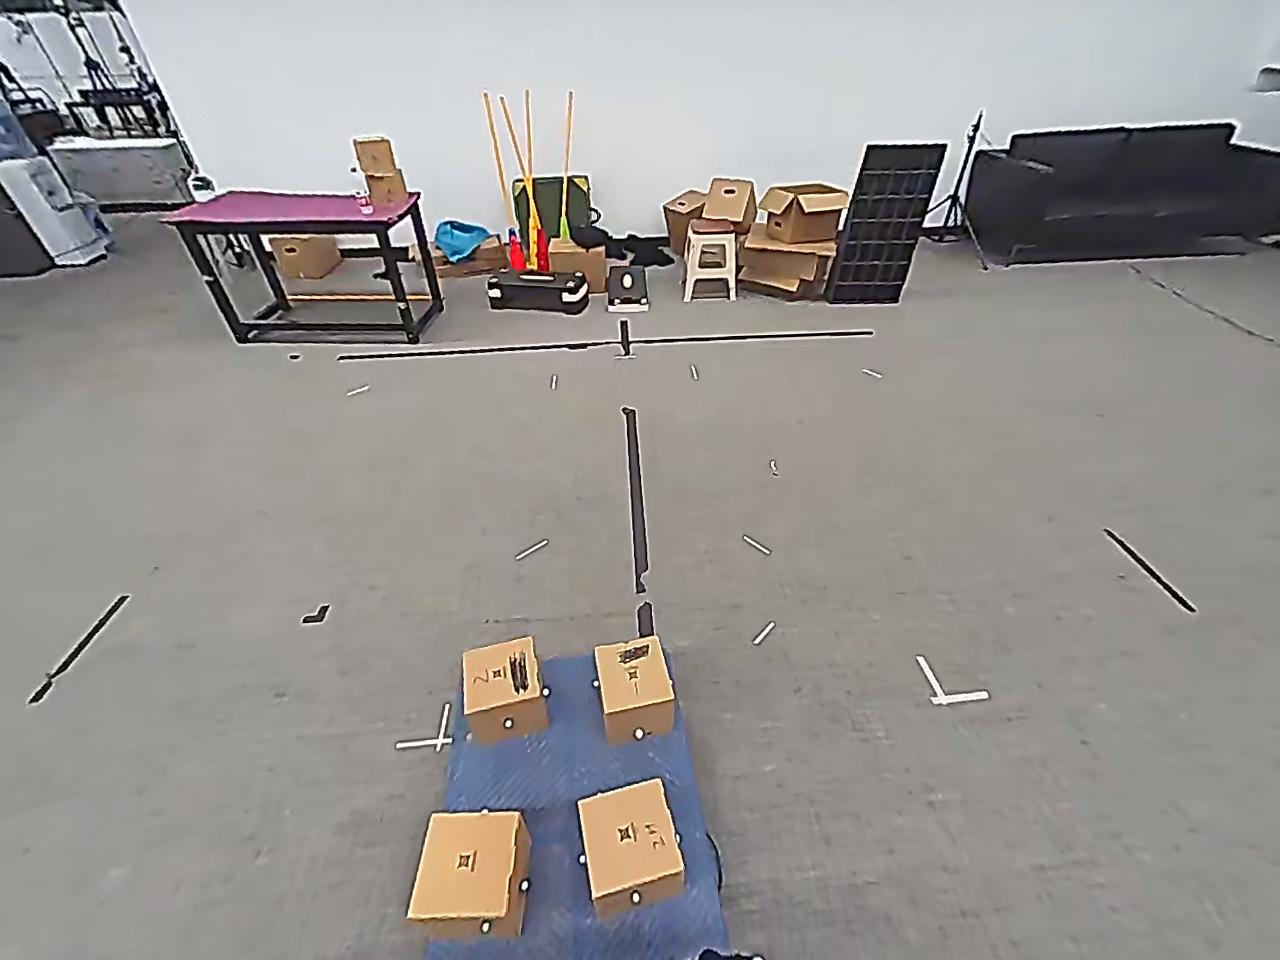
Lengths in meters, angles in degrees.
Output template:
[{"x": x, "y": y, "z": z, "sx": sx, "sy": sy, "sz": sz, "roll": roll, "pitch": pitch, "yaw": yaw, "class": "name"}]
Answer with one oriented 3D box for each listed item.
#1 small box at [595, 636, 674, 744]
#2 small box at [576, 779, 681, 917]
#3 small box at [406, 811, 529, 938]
[{"x": -0.017, "y": 0.519, "z": 1.339, "sx": 0.168, "sy": 0.176, "sz": 0.179, "roll": -8, "pitch": 42, "yaw": -8, "class": "small box"}, {"x": -0.023, "y": 0.737, "z": 1.082, "sx": 0.179, "sy": 0.176, "sz": 0.168, "roll": -10, "pitch": 41, "yaw": -10, "class": "small box"}, {"x": -0.324, "y": 0.768, "z": 1.052, "sx": 0.179, "sy": 0.176, "sz": 0.168, "roll": -1, "pitch": 40, "yaw": -2, "class": "small box"}]
